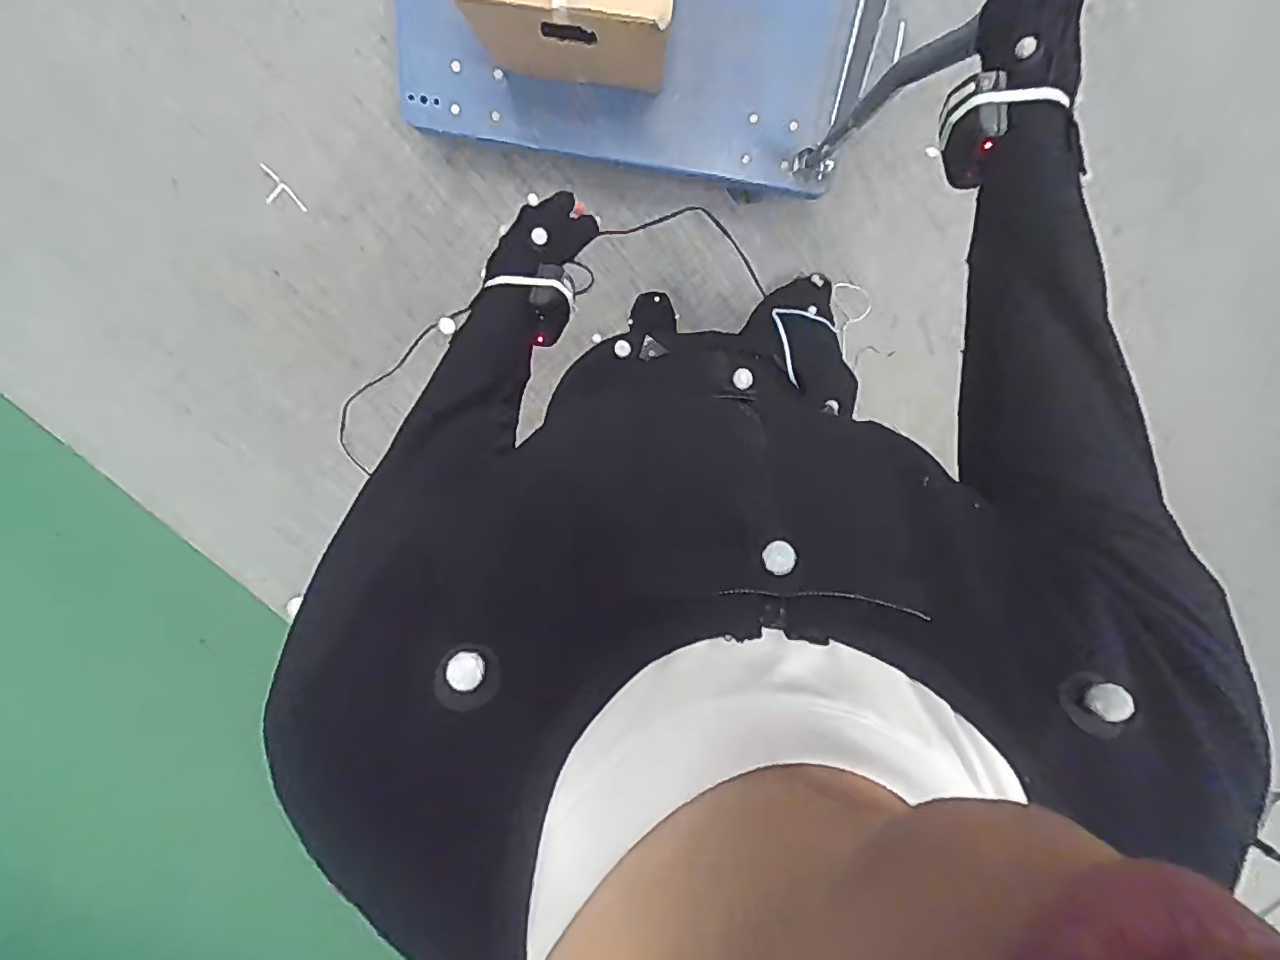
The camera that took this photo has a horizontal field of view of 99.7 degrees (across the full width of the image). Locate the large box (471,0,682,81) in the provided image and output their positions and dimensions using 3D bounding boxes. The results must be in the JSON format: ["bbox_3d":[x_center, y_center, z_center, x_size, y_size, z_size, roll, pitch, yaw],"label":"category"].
[{"bbox_3d":[-0.079,-0.905,0.821,0.320,0.320,0.408,6,112,-1],"label":"large box"}]
